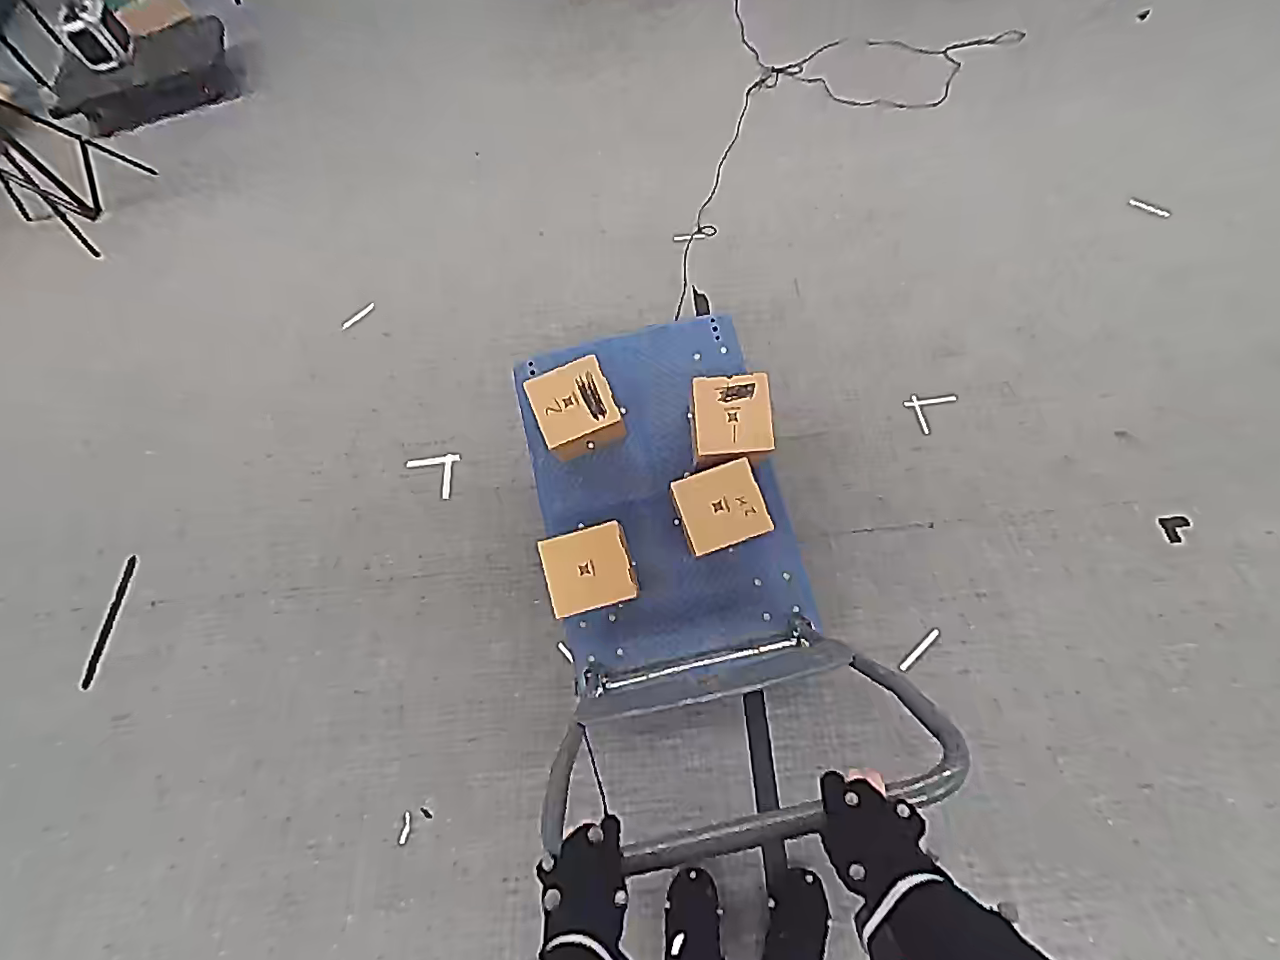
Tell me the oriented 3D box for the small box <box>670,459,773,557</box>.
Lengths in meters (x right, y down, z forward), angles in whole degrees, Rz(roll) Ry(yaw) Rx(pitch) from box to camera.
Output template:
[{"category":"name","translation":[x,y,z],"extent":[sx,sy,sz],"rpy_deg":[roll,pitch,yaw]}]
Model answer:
[{"category":"small box","translation":[0.176,0.070,1.213],"extent":[0.179,0.176,0.168],"rpy_deg":[-19,81,0]}]

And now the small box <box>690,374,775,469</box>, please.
[{"category":"small box","translation":[0.205,-0.128,1.244],"extent":[0.168,0.176,0.179],"rpy_deg":[-4,81,2]}]

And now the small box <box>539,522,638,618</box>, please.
[{"category":"small box","translation":[-0.109,0.202,1.205],"extent":[0.179,0.176,0.168],"rpy_deg":[-16,80,-2]}]
